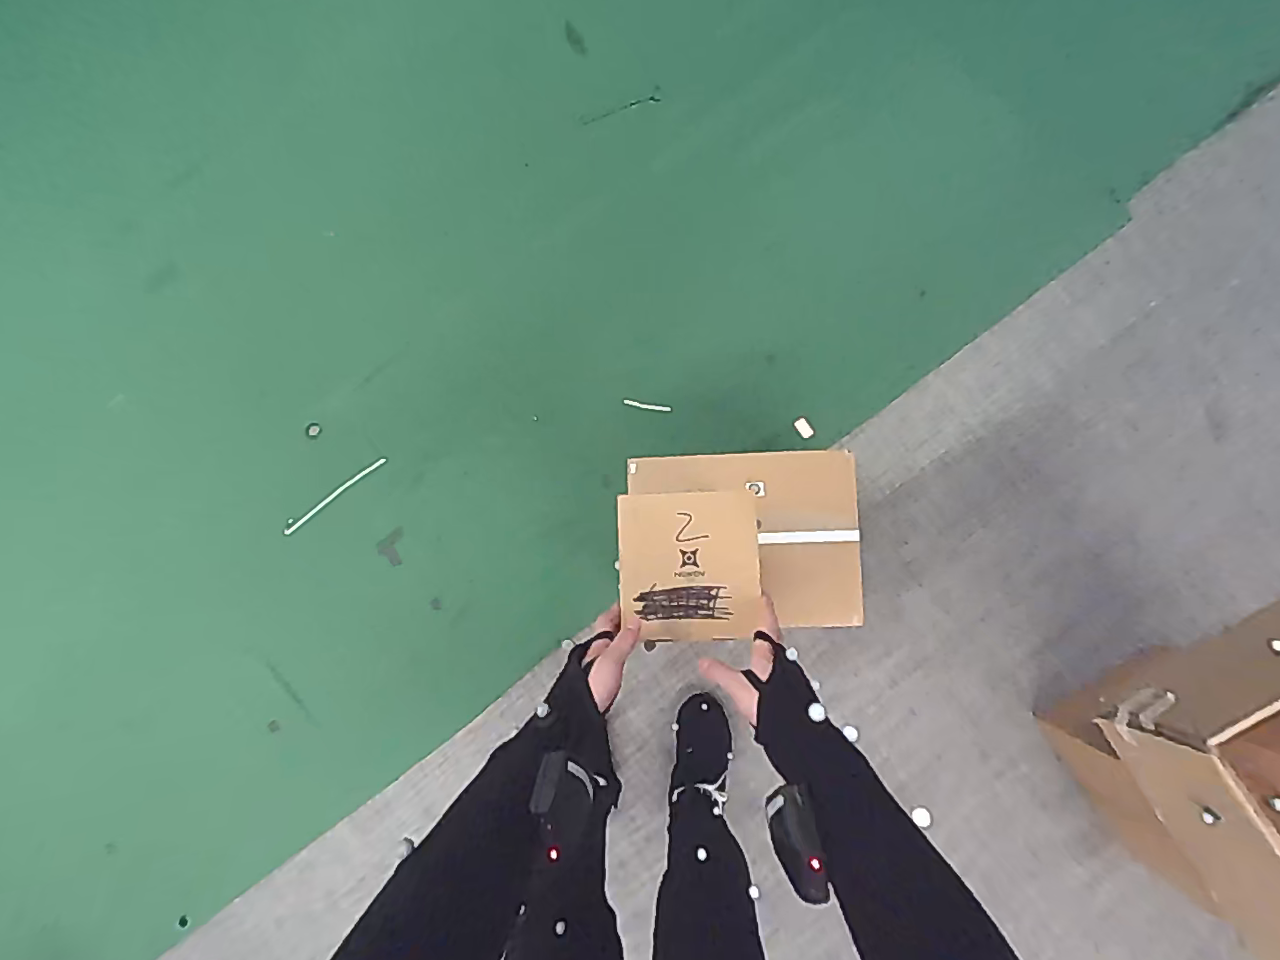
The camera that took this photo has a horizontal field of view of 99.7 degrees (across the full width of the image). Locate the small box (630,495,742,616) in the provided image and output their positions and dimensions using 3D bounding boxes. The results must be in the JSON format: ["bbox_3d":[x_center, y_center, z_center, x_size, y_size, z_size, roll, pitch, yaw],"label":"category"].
[{"bbox_3d":[0.072,0.119,0.875,0.168,0.176,0.179,0,85,4],"label":"small box"}]
